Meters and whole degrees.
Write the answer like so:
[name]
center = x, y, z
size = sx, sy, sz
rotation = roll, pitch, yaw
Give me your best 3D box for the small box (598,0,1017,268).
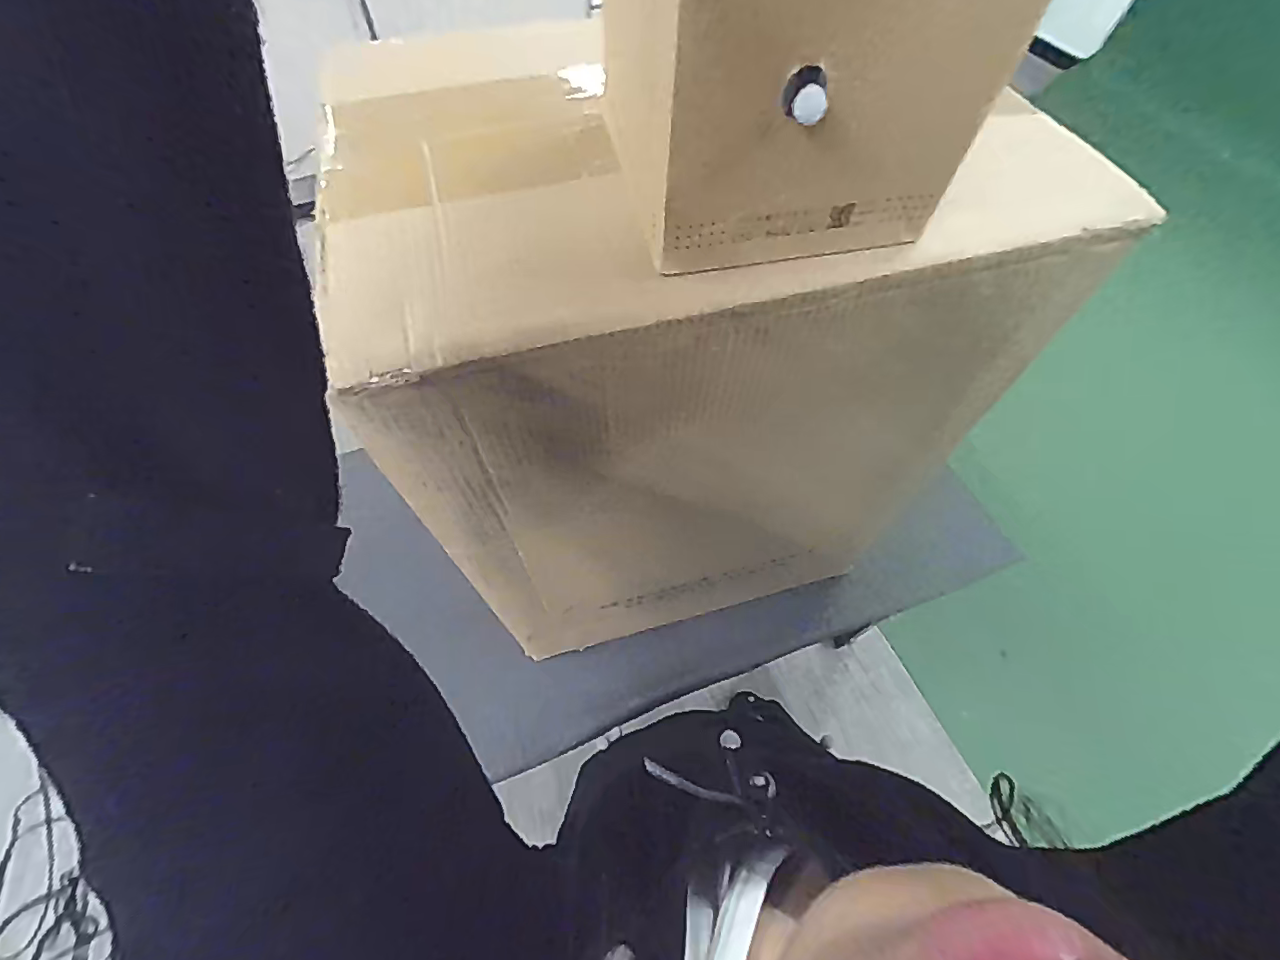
[small box]
center = 0.071, -0.237, 0.295
size = 0.168, 0.176, 0.179
rotation = -10, 61, -6
